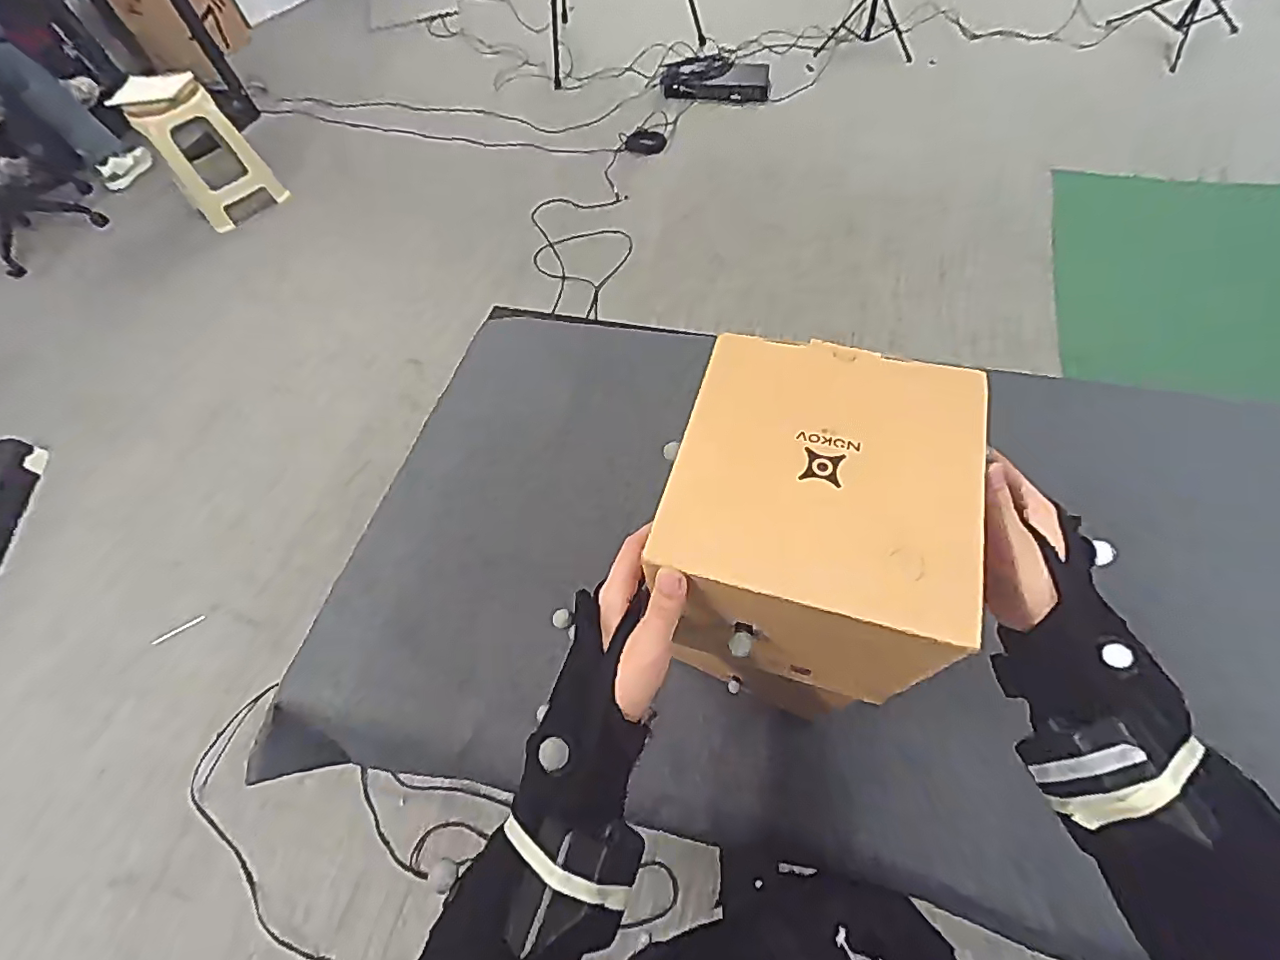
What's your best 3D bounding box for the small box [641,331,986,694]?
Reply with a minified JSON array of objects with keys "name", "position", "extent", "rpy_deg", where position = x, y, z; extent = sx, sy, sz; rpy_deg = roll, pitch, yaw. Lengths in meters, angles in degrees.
[{"name":"small box","position":[0.112,0.029,0.373],"extent":[0.168,0.176,0.179],"rpy_deg":[13,61,14]}]
